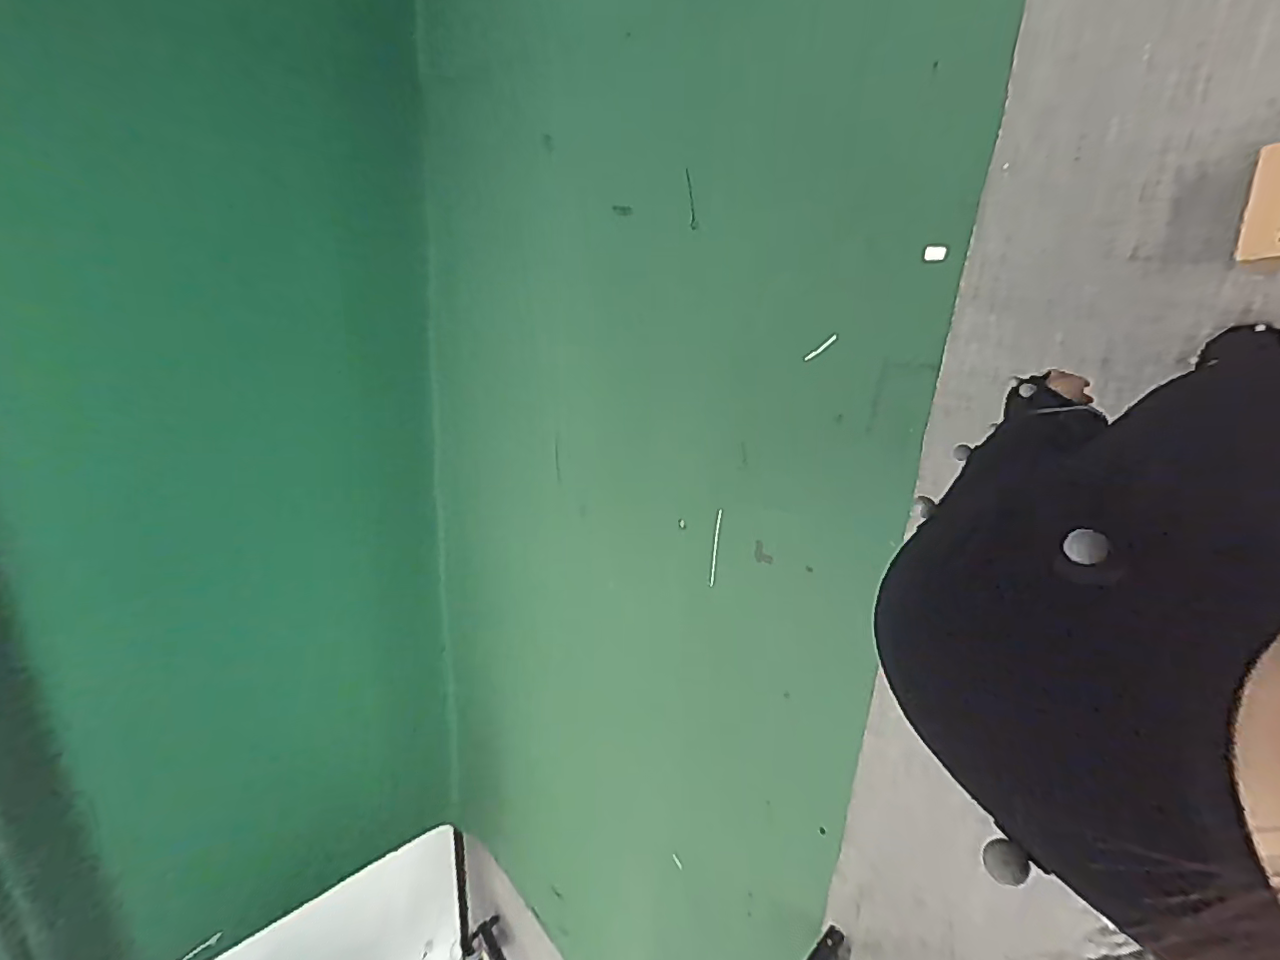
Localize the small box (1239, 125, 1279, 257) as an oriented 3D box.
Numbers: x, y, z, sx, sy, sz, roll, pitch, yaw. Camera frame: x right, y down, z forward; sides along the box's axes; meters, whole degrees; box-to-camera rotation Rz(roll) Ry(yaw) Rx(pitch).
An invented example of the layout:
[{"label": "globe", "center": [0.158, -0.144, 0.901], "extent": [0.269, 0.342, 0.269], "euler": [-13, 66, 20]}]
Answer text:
[{"label": "small box", "center": [1.095, -0.465, 0.861], "extent": [0.168, 0.176, 0.179], "euler": [15, 110, 45]}]
